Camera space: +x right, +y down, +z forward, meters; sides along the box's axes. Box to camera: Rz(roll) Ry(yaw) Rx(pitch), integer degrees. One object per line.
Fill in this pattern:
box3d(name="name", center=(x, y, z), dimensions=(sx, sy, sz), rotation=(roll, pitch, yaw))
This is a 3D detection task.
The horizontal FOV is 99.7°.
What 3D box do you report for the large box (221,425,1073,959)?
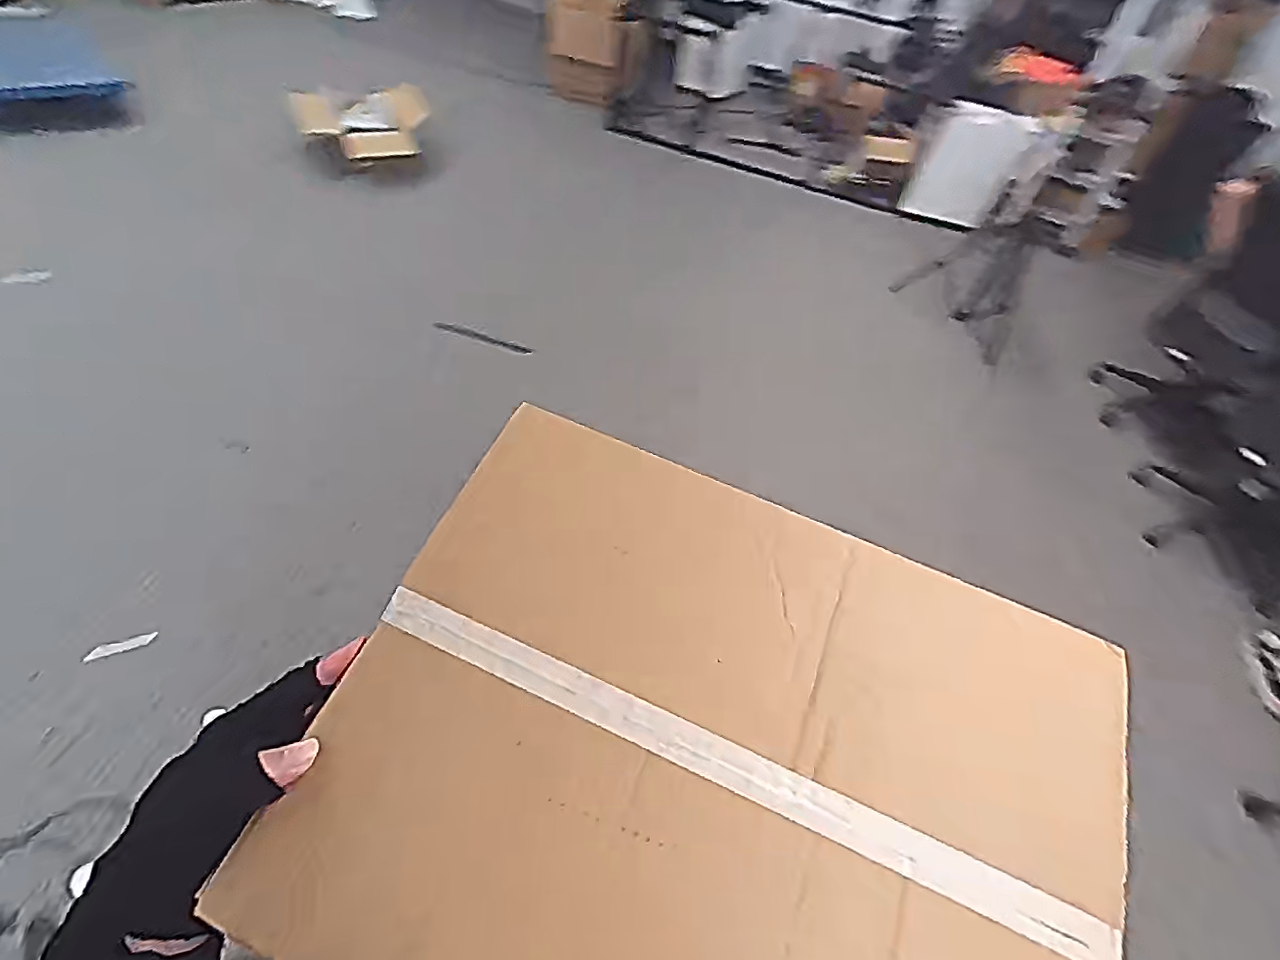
box3d(name="large box", center=(0.024, 0.217, 0.434), dimensions=(0.408, 0.320, 0.320), rotation=(21, 65, 8))
